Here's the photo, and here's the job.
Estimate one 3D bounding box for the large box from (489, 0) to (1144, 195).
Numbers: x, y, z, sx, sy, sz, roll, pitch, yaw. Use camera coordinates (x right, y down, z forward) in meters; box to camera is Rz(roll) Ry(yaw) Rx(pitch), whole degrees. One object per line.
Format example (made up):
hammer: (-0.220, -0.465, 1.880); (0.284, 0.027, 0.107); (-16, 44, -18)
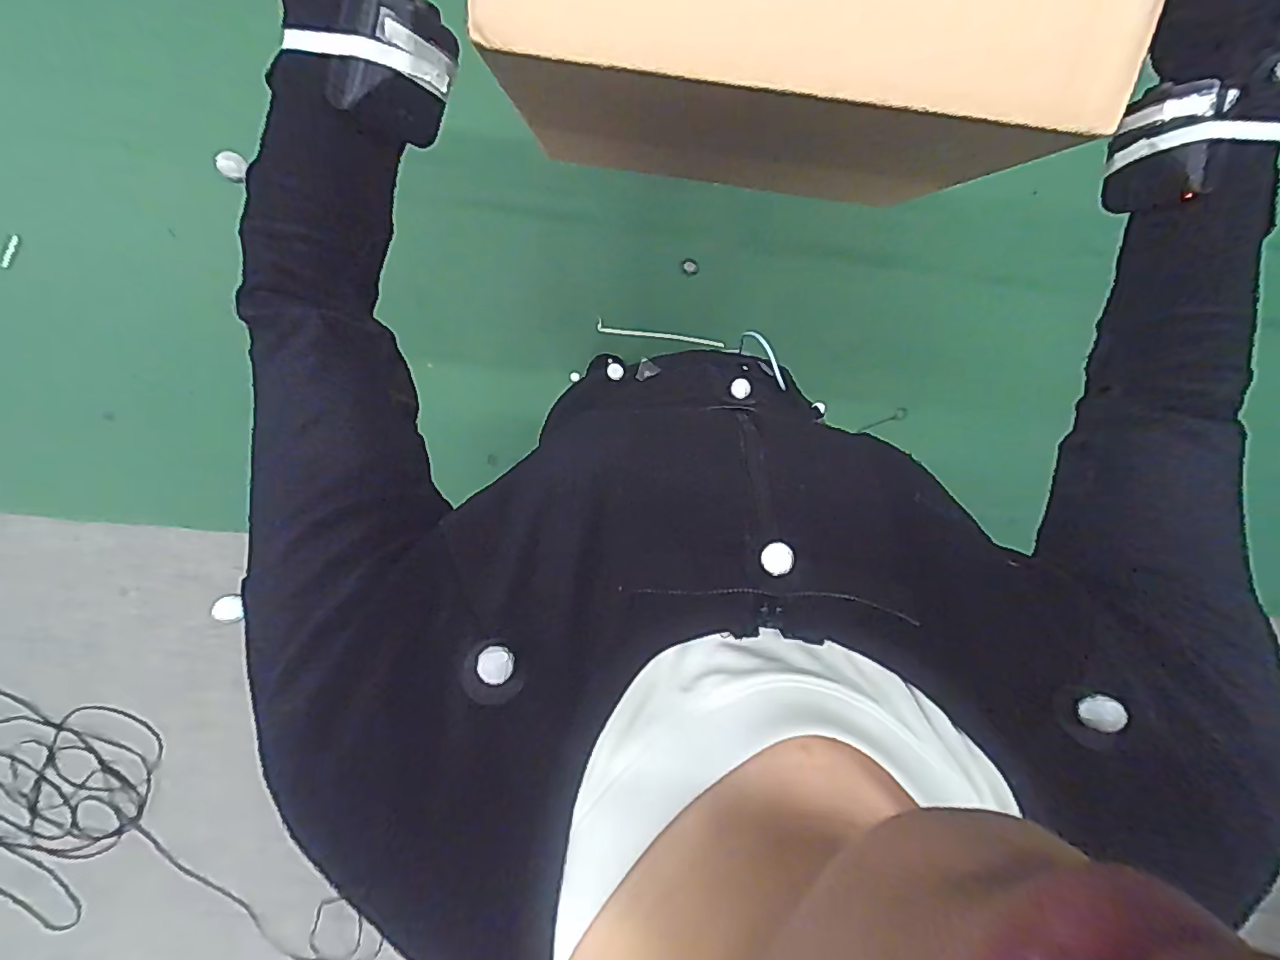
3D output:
large box: (0.114, -0.442, 0.429); (0.408, 0.320, 0.320); (6, 110, -4)
